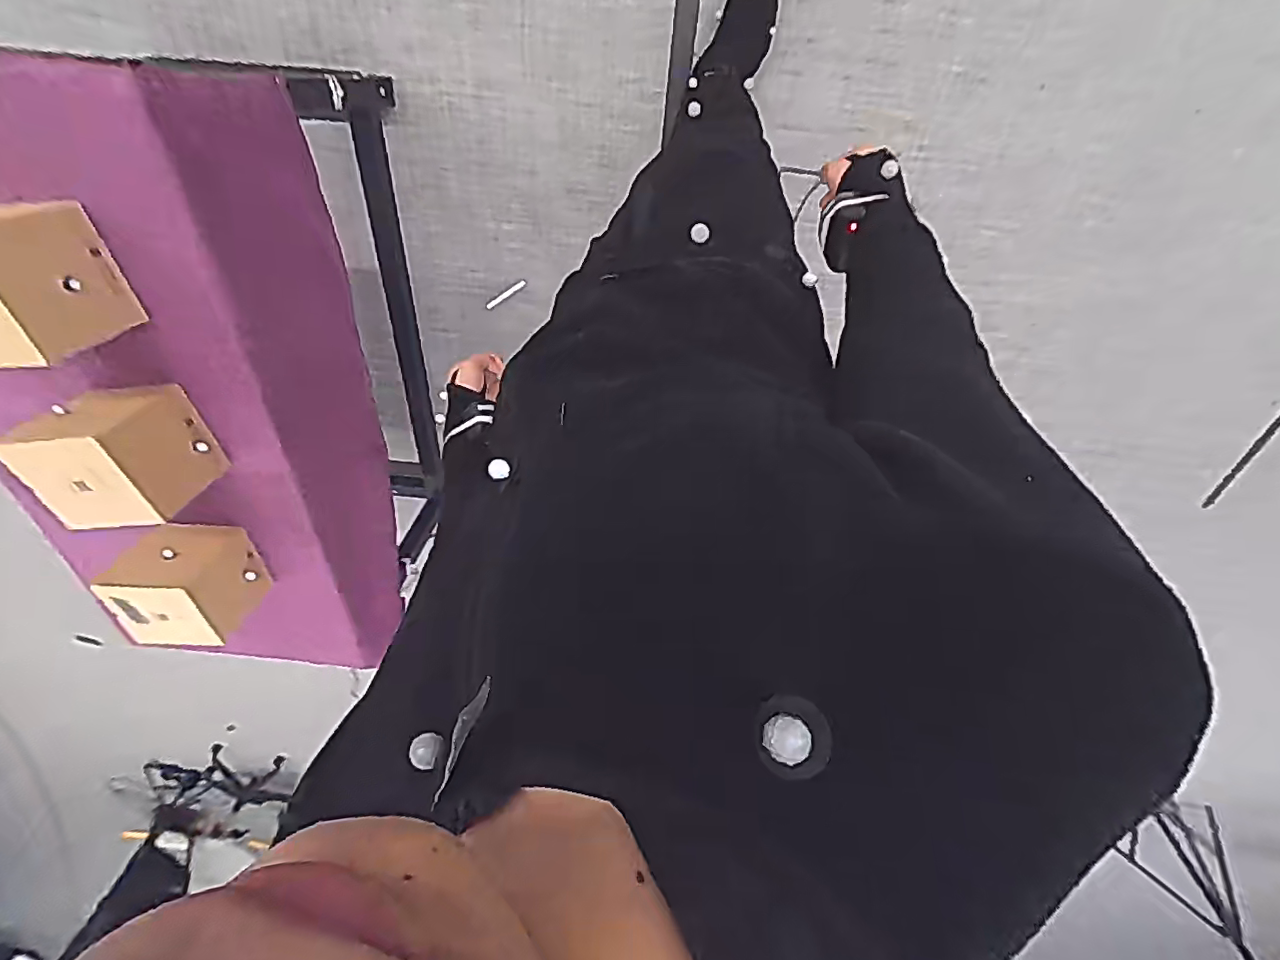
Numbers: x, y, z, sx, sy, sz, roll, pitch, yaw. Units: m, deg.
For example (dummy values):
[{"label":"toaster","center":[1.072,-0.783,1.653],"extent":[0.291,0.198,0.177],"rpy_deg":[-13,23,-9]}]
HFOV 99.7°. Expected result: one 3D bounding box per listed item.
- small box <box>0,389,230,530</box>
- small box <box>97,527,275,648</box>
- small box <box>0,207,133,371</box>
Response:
[{"label":"small box","center":[-0.839,-0.036,0.885],"extent":[0.179,0.176,0.168],"rpy_deg":[-3,127,8]},{"label":"small box","center":[-0.878,0.207,1.068],"extent":[0.179,0.176,0.168],"rpy_deg":[2,127,3]},{"label":"small box","center":[-0.842,-0.256,0.718],"extent":[0.179,0.176,0.168],"rpy_deg":[1,127,5]}]
